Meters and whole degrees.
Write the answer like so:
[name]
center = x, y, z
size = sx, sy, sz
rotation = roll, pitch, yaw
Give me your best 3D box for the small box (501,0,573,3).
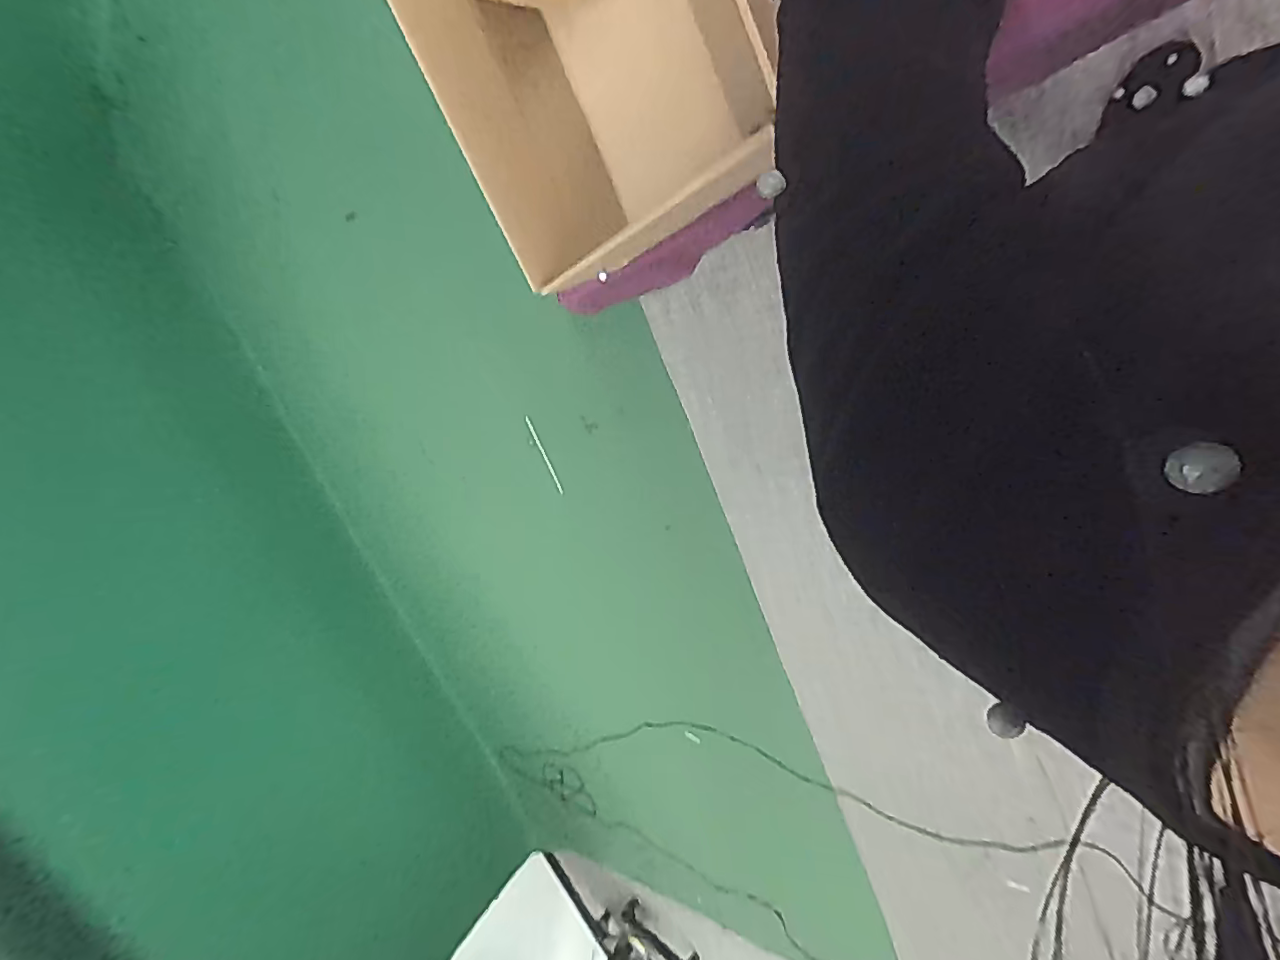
[small box]
center = -0.108, -0.653, 0.568
size = 0.168, 0.176, 0.179
rotation = -17, 106, 44
